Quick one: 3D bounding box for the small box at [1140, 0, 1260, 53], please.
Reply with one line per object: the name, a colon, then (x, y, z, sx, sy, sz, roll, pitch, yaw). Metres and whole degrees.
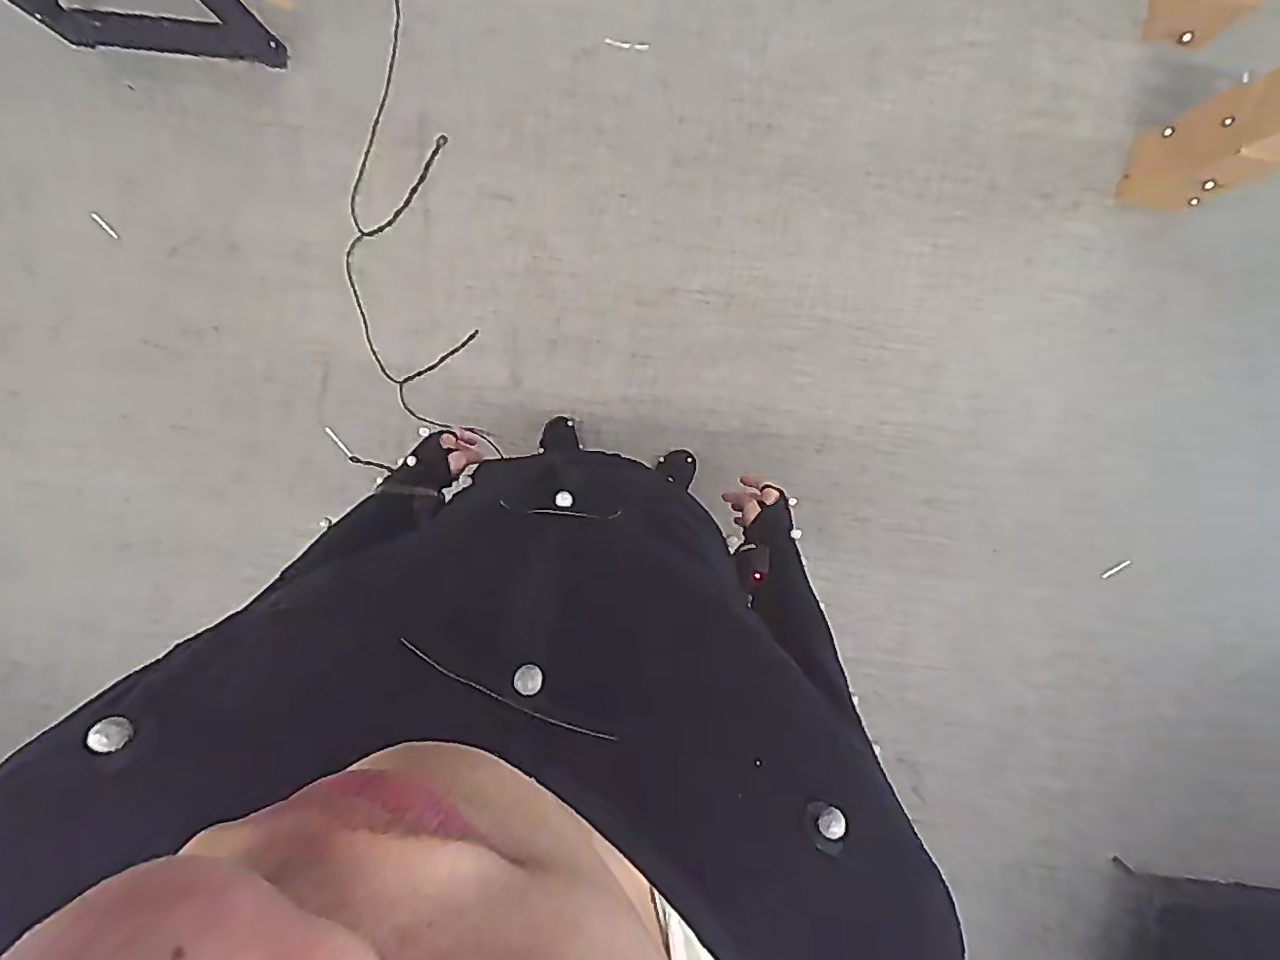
small box: (1.496, -1.294, 1.440, 0.168, 0.176, 0.179, 6, 97, -1)

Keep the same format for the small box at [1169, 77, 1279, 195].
small box: (1.465, -0.833, 1.323, 0.168, 0.176, 0.179, 8, 97, -2)

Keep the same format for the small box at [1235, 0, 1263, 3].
small box: (1.501, -1.280, 1.277, 0.179, 0.176, 0.168, 3, 96, -1)

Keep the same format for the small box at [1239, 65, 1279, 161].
small box: (1.470, -0.813, 1.163, 0.168, 0.176, 0.179, 12, 95, -2)
